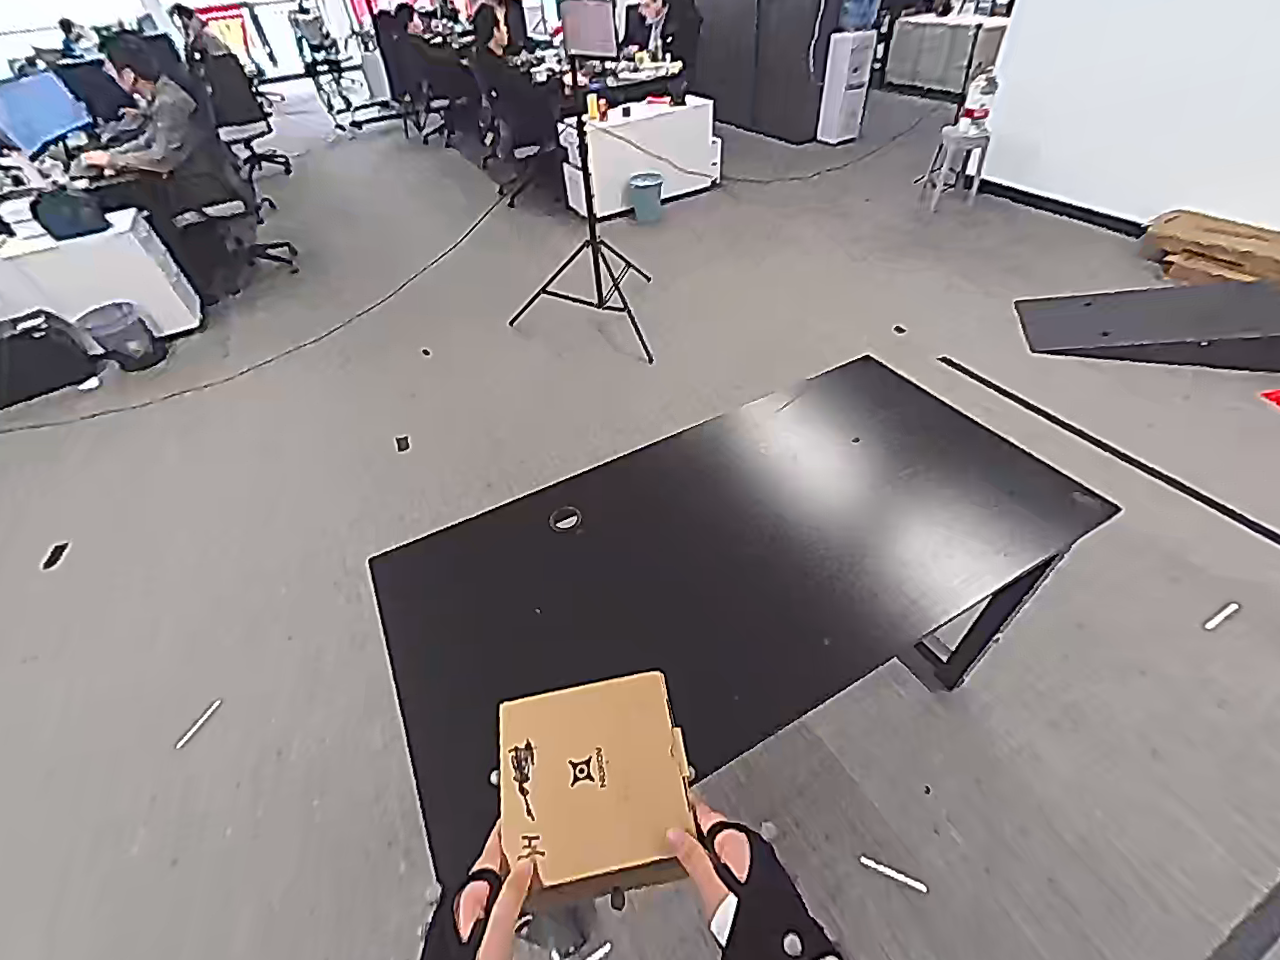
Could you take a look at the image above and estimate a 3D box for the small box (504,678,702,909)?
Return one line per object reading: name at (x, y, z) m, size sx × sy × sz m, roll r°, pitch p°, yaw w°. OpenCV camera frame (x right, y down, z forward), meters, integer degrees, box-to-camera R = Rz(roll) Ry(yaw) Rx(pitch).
small box at (-0.041, 0.335, 0.577) m, size 0.179 × 0.176 × 0.168 m, roll -9°, pitch 47°, yaw -5°
